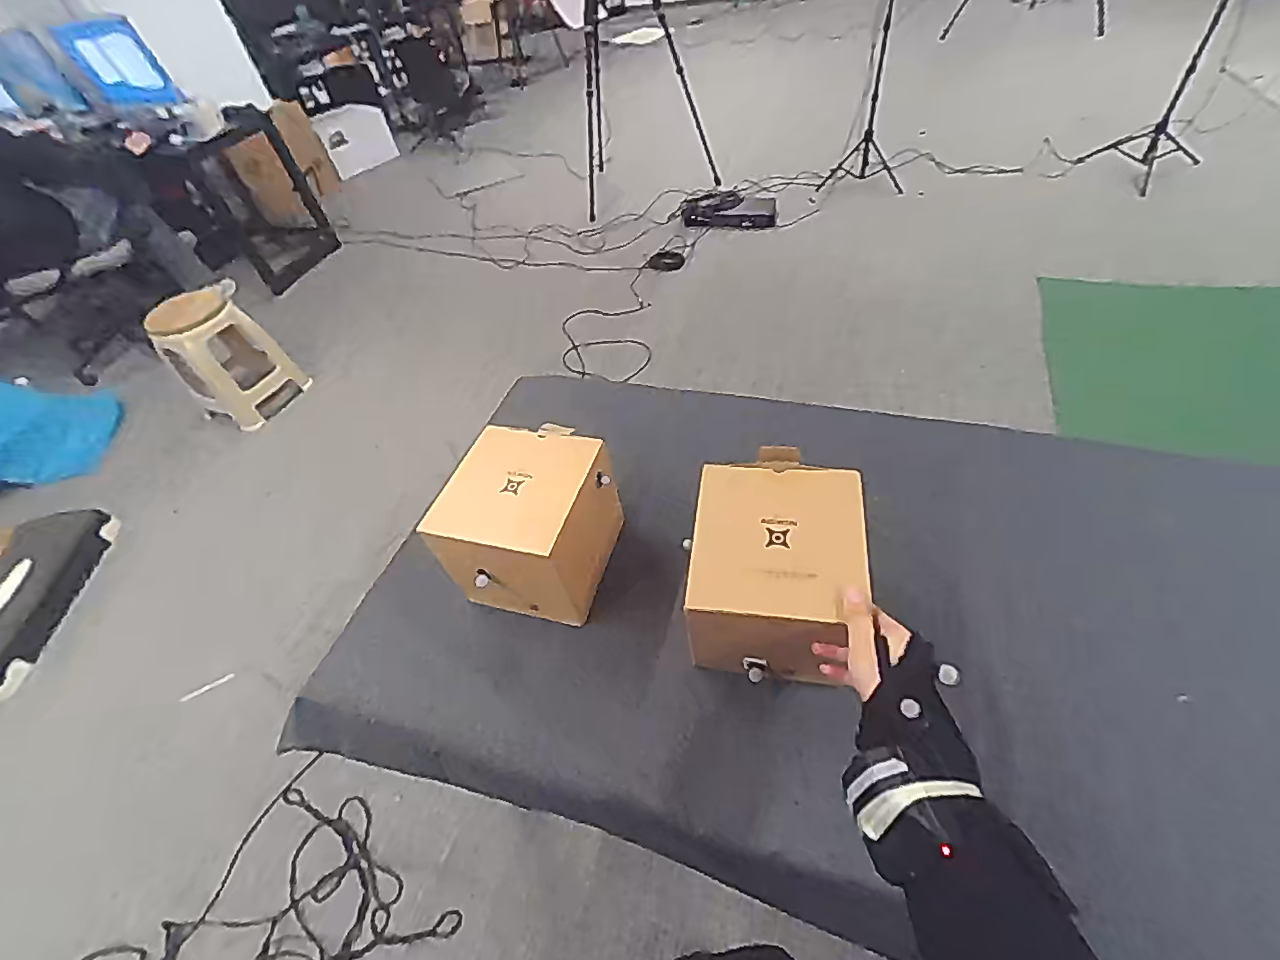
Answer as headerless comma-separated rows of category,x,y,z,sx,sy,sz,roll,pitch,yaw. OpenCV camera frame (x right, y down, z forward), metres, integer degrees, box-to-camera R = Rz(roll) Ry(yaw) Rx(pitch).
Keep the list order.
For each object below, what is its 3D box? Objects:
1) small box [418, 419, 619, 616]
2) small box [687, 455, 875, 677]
small box,-0.135,0.048,0.682,0.168,0.176,0.179,8,50,16
small box,0.147,0.093,0.590,0.168,0.176,0.179,2,53,13
